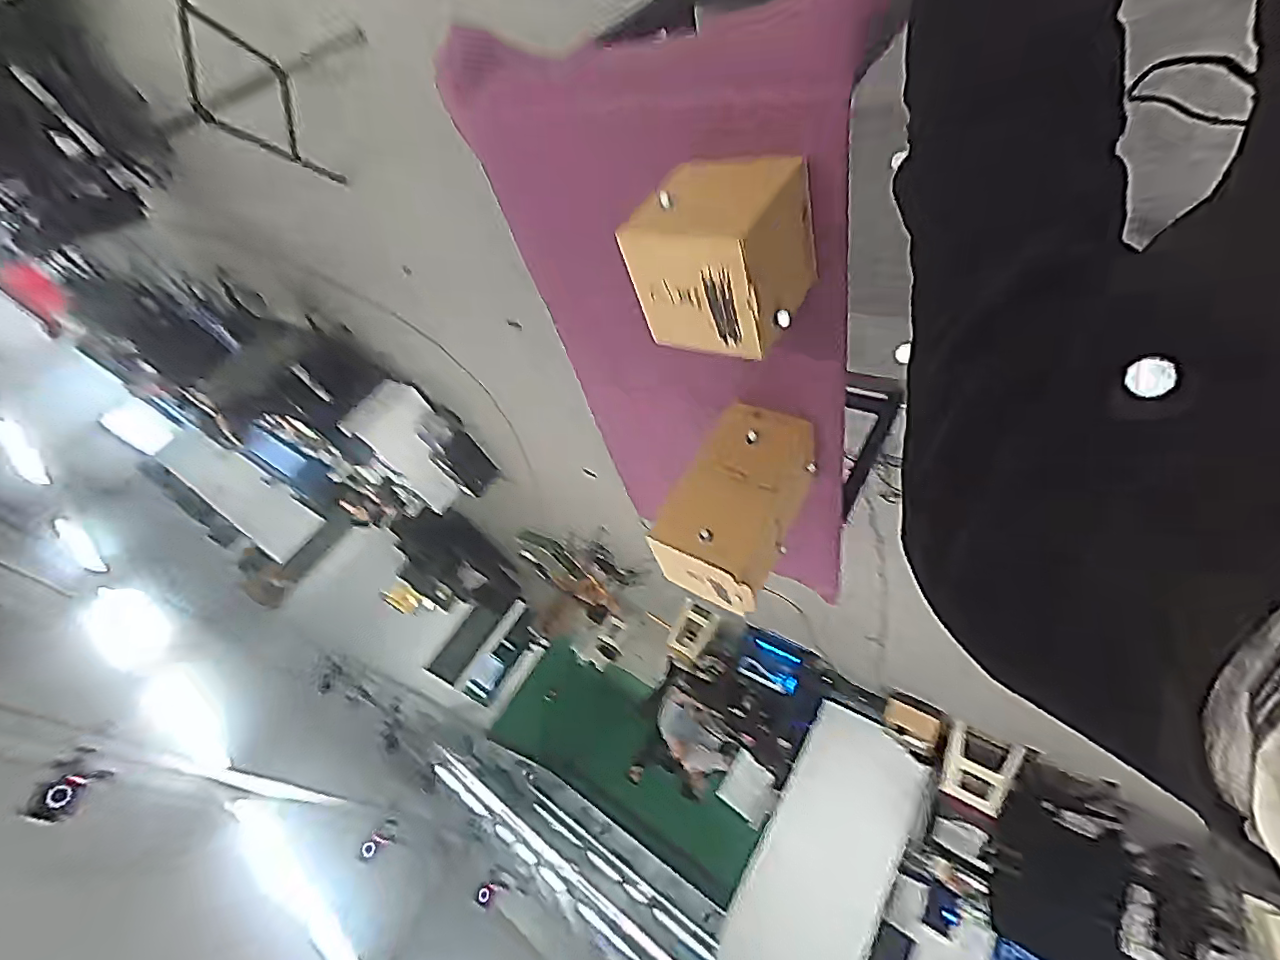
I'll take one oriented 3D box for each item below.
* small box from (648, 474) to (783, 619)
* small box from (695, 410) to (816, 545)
[{"bbox_3d":[0.145,0.114,0.966,0.179,0.176,0.168,21,153,31],"label":"small box"},{"bbox_3d":[0.228,-0.010,1.038,0.168,0.176,0.179,20,151,31],"label":"small box"}]
